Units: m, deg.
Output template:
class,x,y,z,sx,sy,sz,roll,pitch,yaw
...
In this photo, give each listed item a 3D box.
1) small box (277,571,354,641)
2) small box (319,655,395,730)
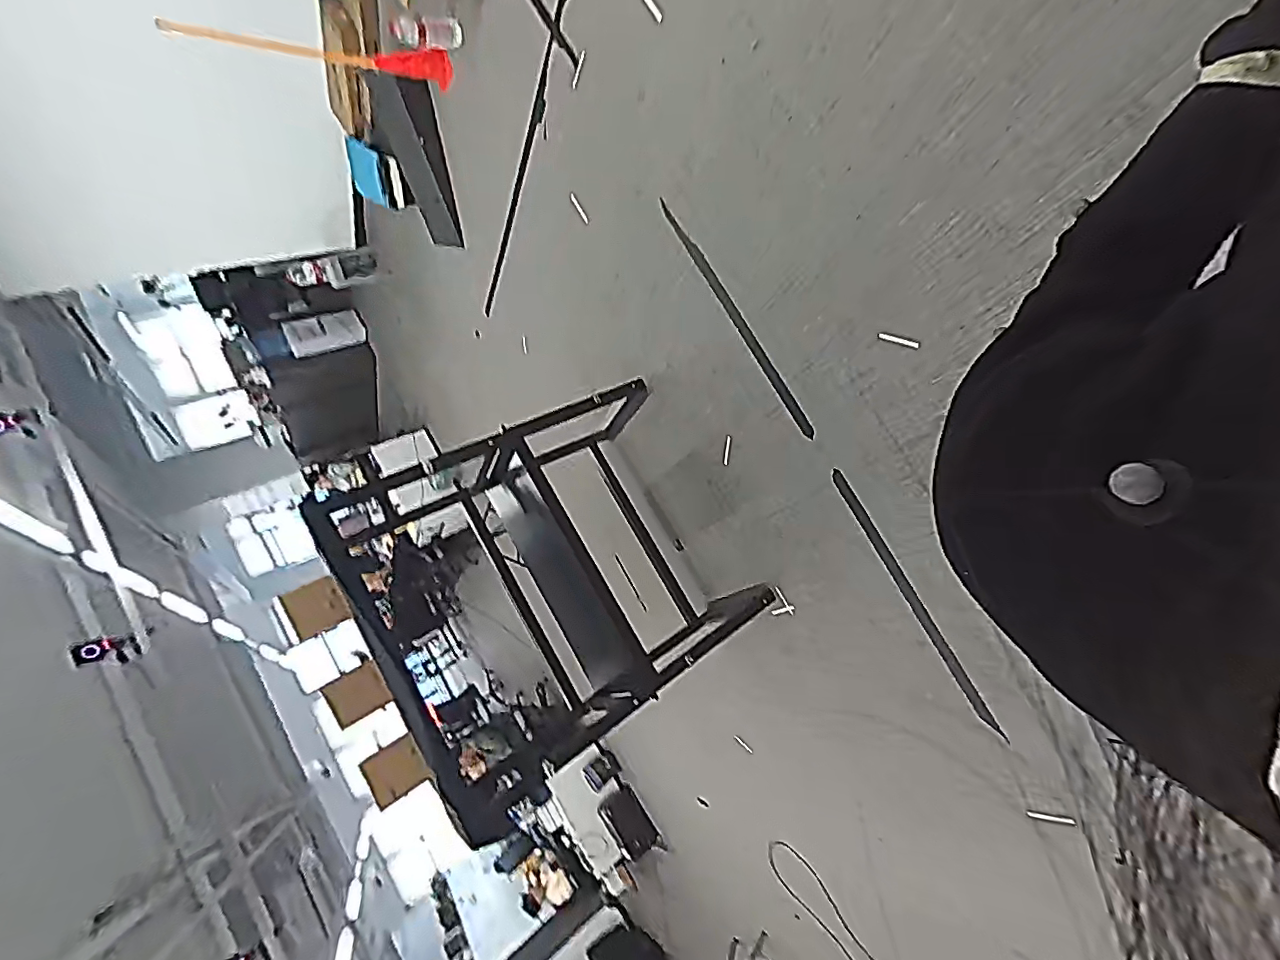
class,x,y,z,sx,sy,sz,roll,pitch,yaw
small box,-1.069,0.416,1.792,0.168,0.176,0.179,62,149,2
small box,-0.913,0.686,1.759,0.168,0.176,0.179,61,150,7
